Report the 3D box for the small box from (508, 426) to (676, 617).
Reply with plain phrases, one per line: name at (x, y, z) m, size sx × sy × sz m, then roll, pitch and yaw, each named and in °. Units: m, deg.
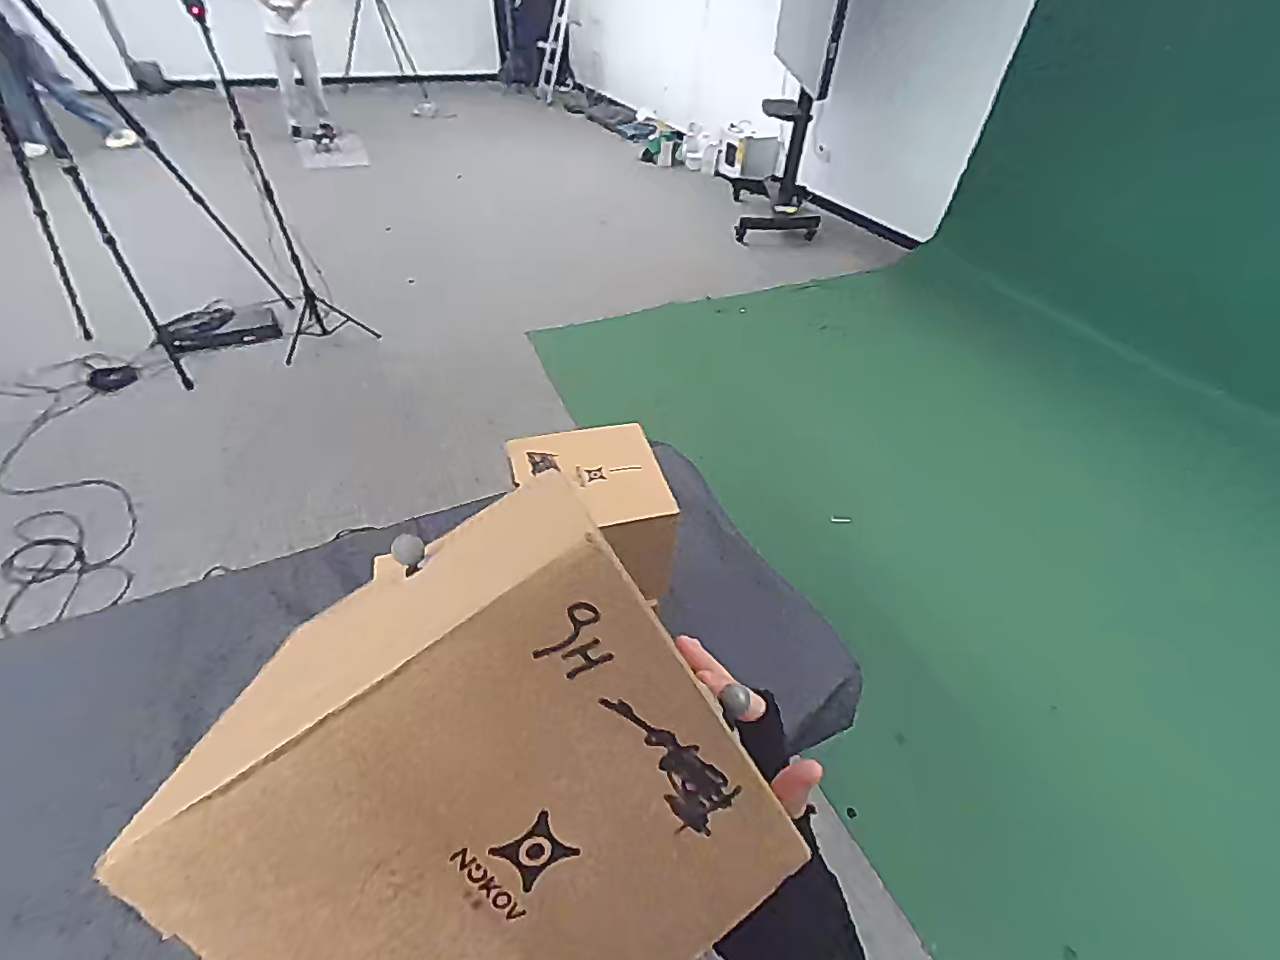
small box at (-0.064, 0.055, 0.700) m, size 0.179 × 0.176 × 0.168 m, roll -10°, pitch 46°, yaw -14°
